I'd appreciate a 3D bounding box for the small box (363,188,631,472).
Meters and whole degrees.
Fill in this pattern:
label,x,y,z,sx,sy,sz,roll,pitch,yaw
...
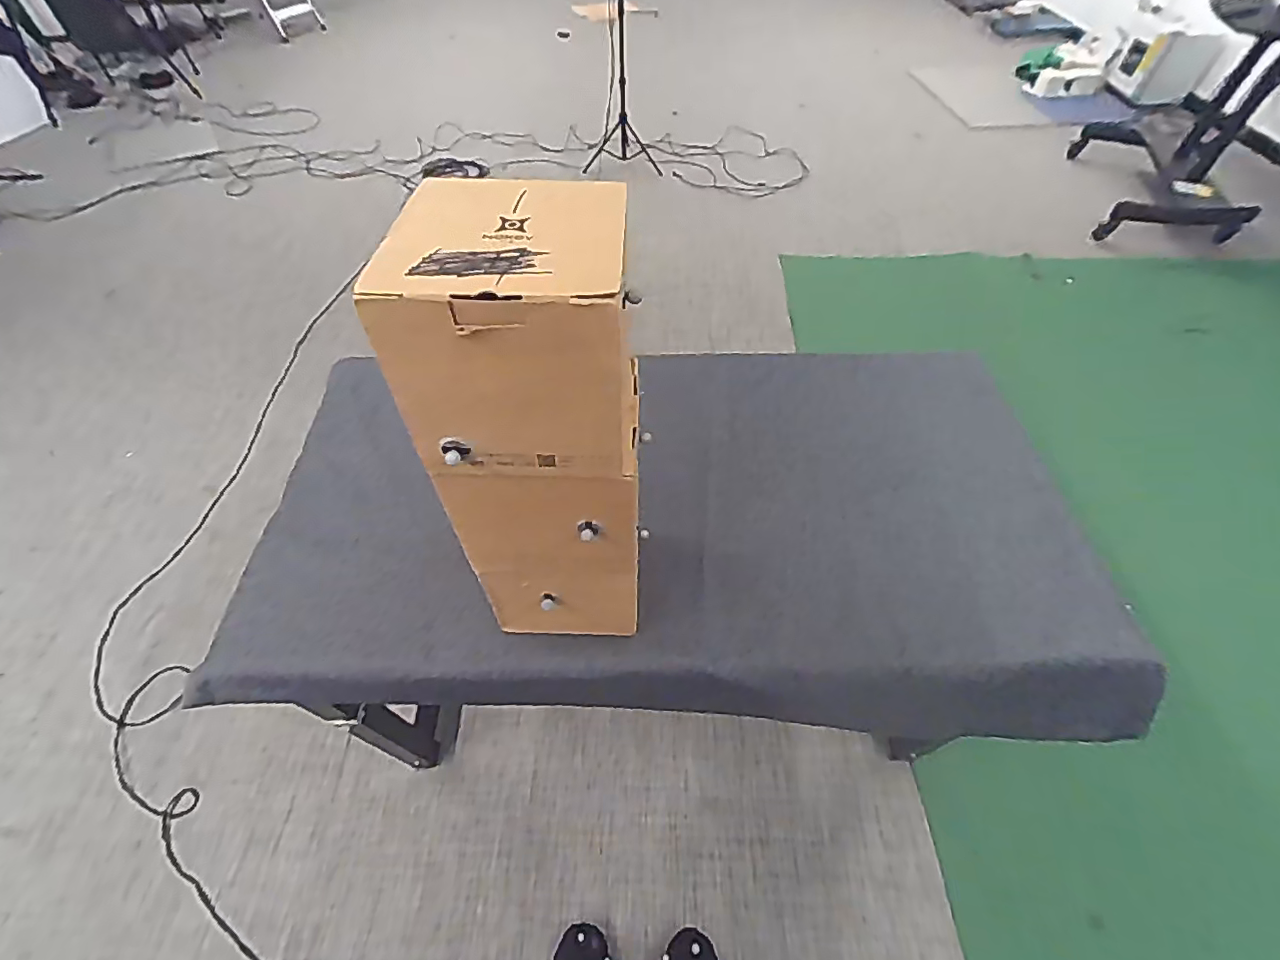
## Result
label,x,y,z,sx,sy,sz,roll,pitch,yaw
small box,-0.094,-0.122,0.454,0.168,0.176,0.179,2,49,0

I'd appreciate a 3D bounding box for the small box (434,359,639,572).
label,x,y,z,sx,sy,sz,roll,pitch,yaw
small box,-0.091,-0.013,0.578,0.179,0.176,0.168,0,50,1

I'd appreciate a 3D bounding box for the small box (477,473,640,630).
label,x,y,z,sx,sy,sz,roll,pitch,yaw
small box,-0.091,0.085,0.706,0.179,0.176,0.168,1,51,1
